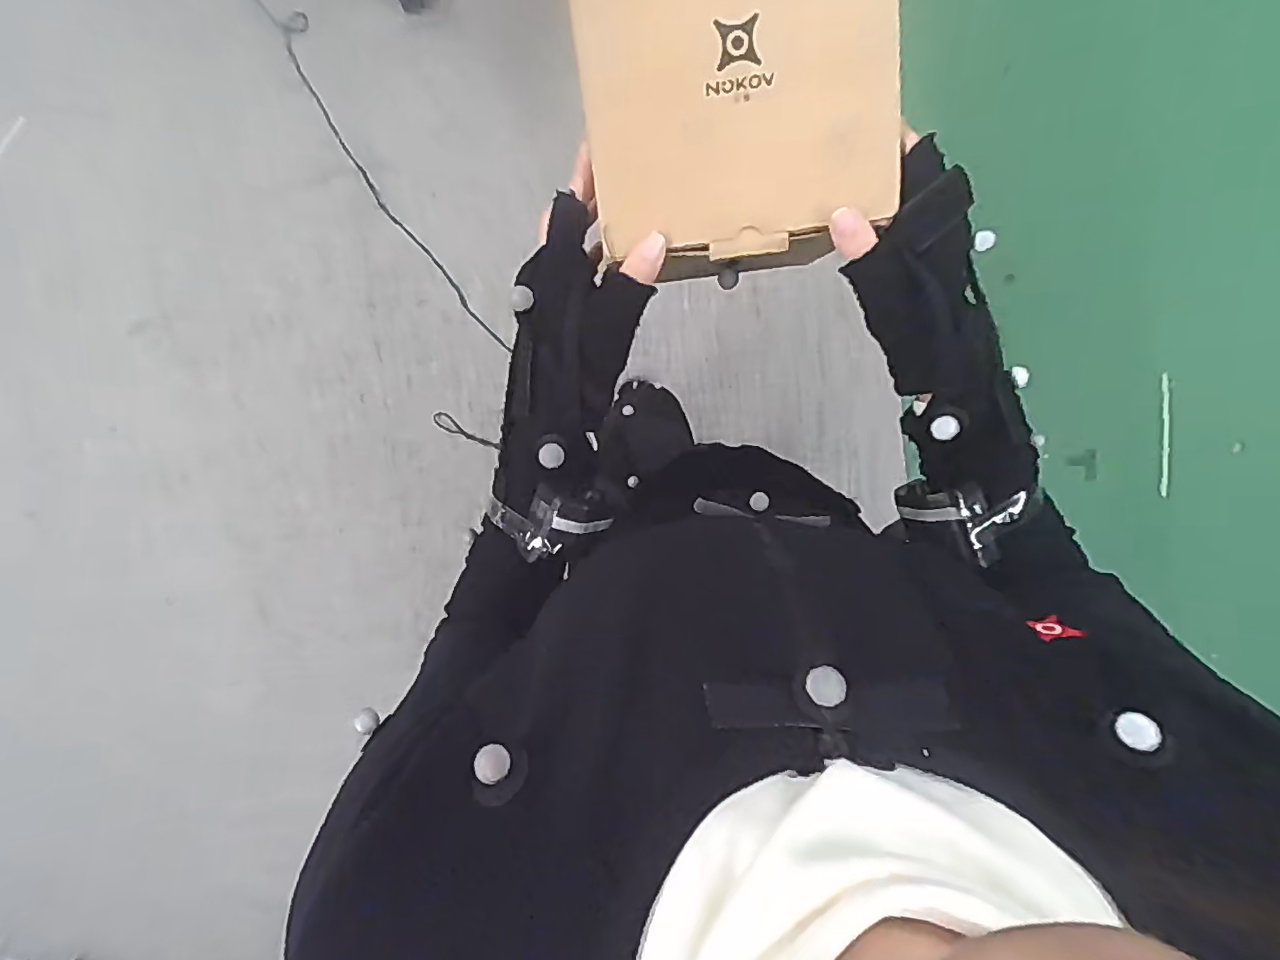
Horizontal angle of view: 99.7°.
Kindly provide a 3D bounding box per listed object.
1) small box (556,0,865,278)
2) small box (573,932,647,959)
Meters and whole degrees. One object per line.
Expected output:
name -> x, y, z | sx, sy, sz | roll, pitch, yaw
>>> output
small box -> 0.046, -0.249, 0.386 | 0.168, 0.176, 0.179 | -9, 104, 5
small box -> -0.071, 1.214, 1.274 | 0.179, 0.176, 0.168 | -7, 96, 2
